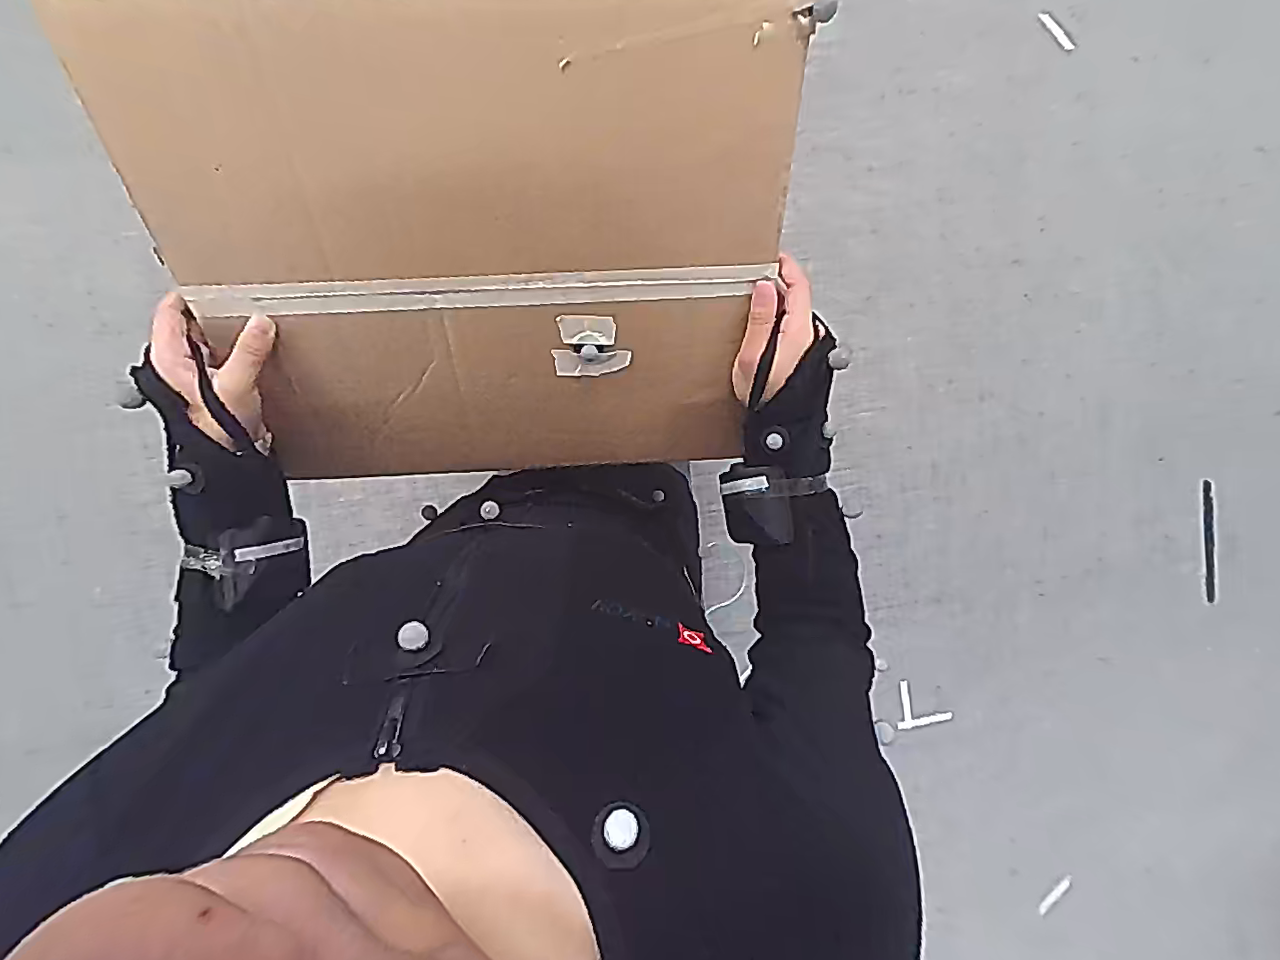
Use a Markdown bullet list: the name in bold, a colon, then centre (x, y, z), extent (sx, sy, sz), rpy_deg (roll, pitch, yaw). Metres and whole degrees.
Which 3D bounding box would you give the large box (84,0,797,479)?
- **large box**: centre (-0.116, -0.226, 0.508), extent (0.408, 0.320, 0.320), rpy_deg (-4, 128, -4)
